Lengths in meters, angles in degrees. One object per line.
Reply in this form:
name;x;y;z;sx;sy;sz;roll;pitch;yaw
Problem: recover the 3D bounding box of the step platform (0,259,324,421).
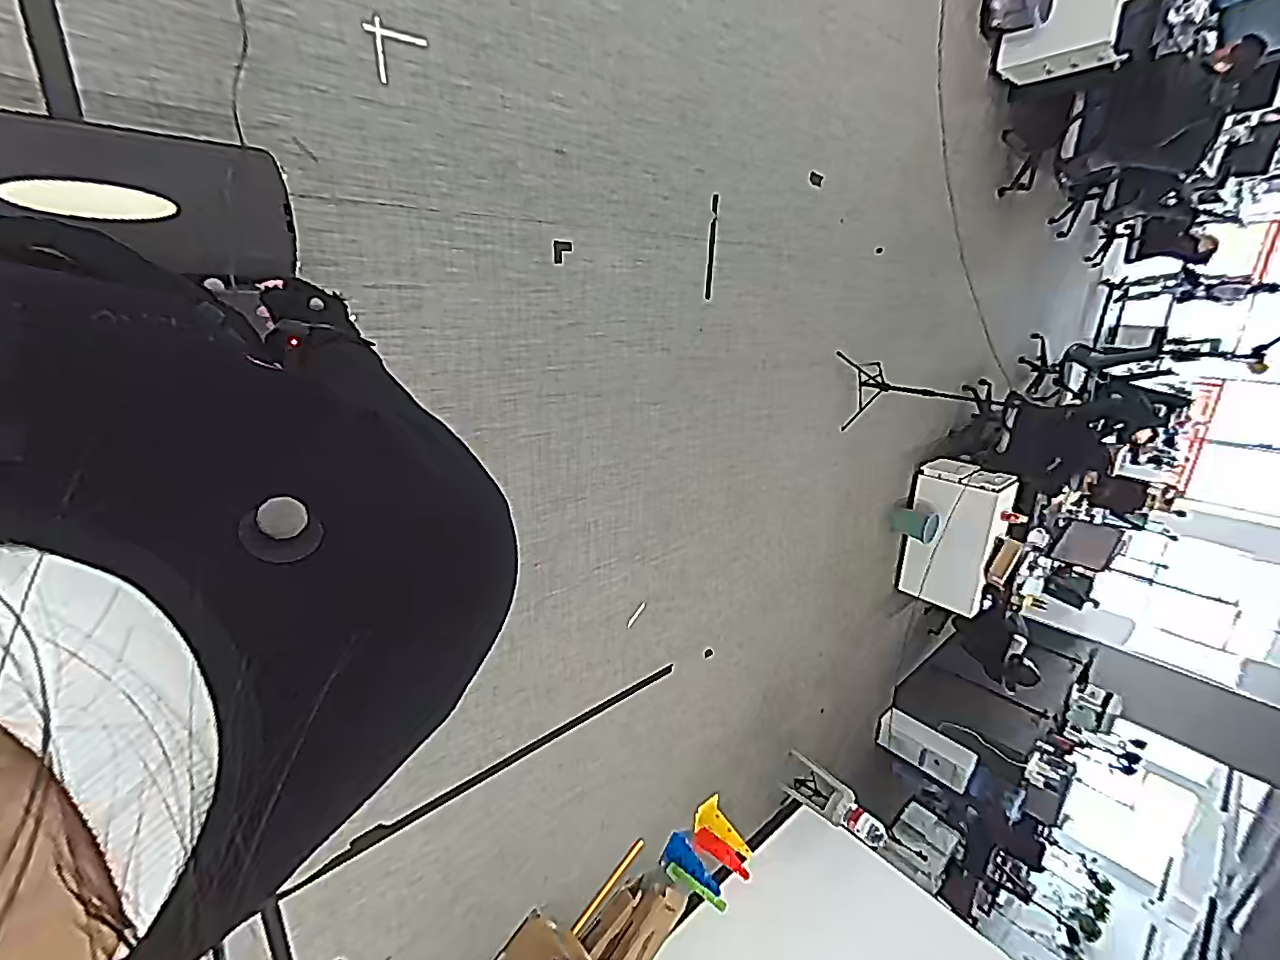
step platform;-1.049;-0.296;1.115;0.684;0.204;0.286;-15;114;-37
